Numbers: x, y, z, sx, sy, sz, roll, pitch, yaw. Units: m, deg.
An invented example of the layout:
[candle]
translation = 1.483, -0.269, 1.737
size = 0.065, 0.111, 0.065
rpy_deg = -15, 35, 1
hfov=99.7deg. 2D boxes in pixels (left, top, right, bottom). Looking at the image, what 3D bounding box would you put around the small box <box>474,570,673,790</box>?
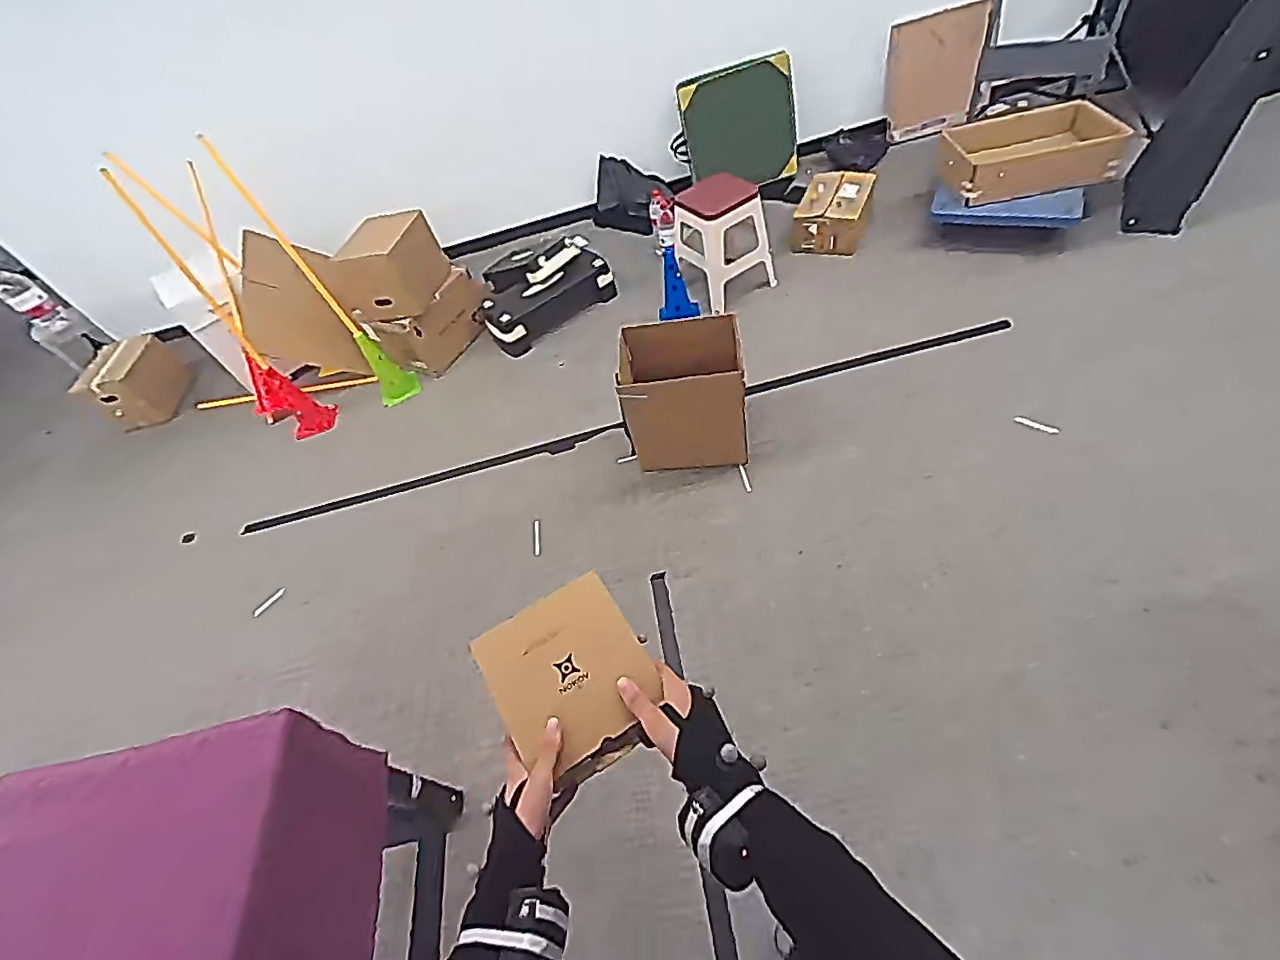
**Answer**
[small box]
translation = -0.071, 0.245, 0.658
size = 0.168, 0.176, 0.179
rpy_deg = -29, 62, -13
